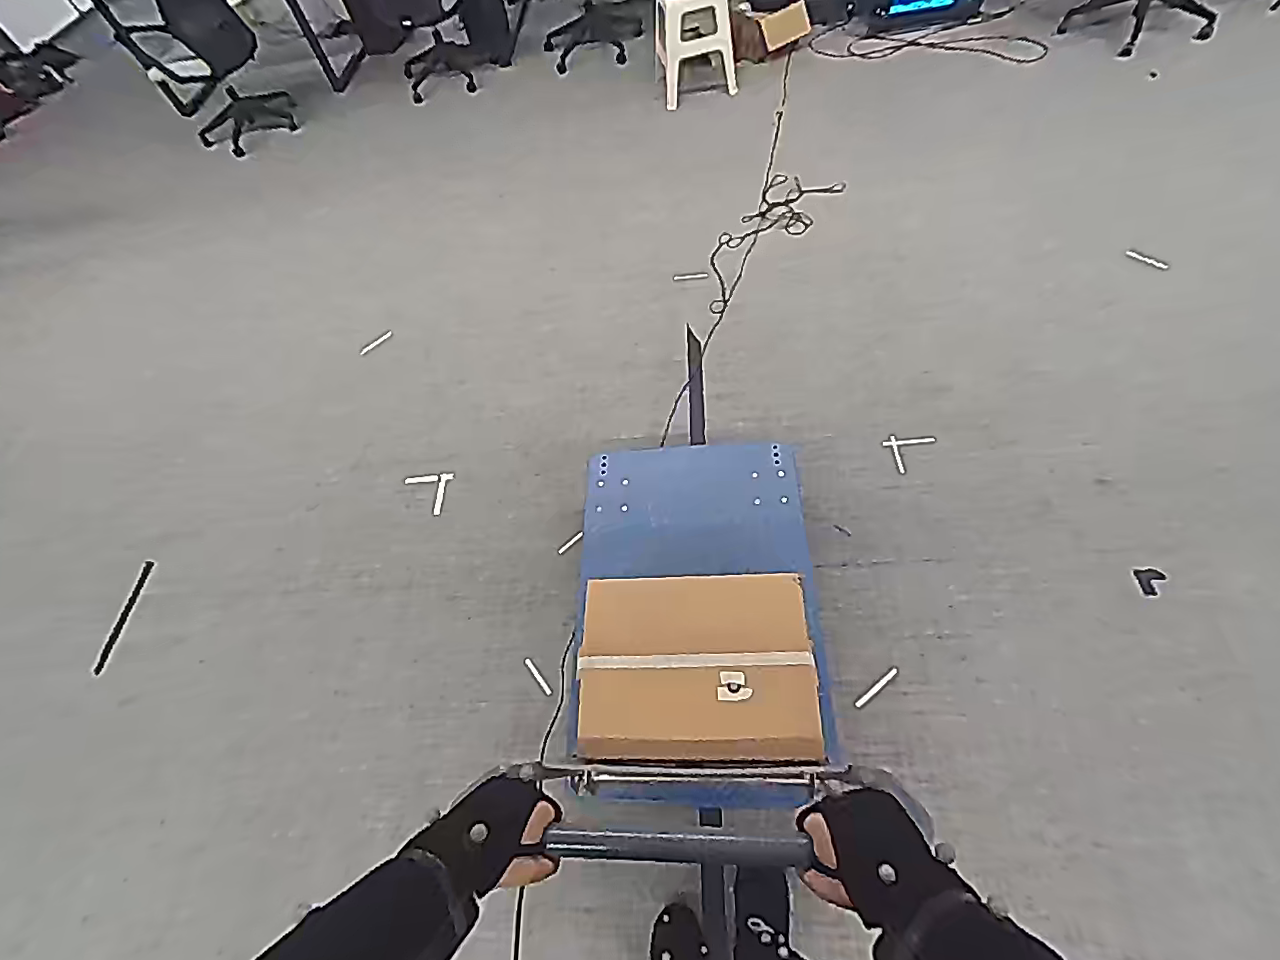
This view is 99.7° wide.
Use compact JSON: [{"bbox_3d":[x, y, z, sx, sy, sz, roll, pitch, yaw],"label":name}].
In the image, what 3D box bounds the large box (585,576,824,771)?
[{"bbox_3d":[0.117,0.402,1.093,0.408,0.320,0.320,-4,60,6],"label":"large box"}]
